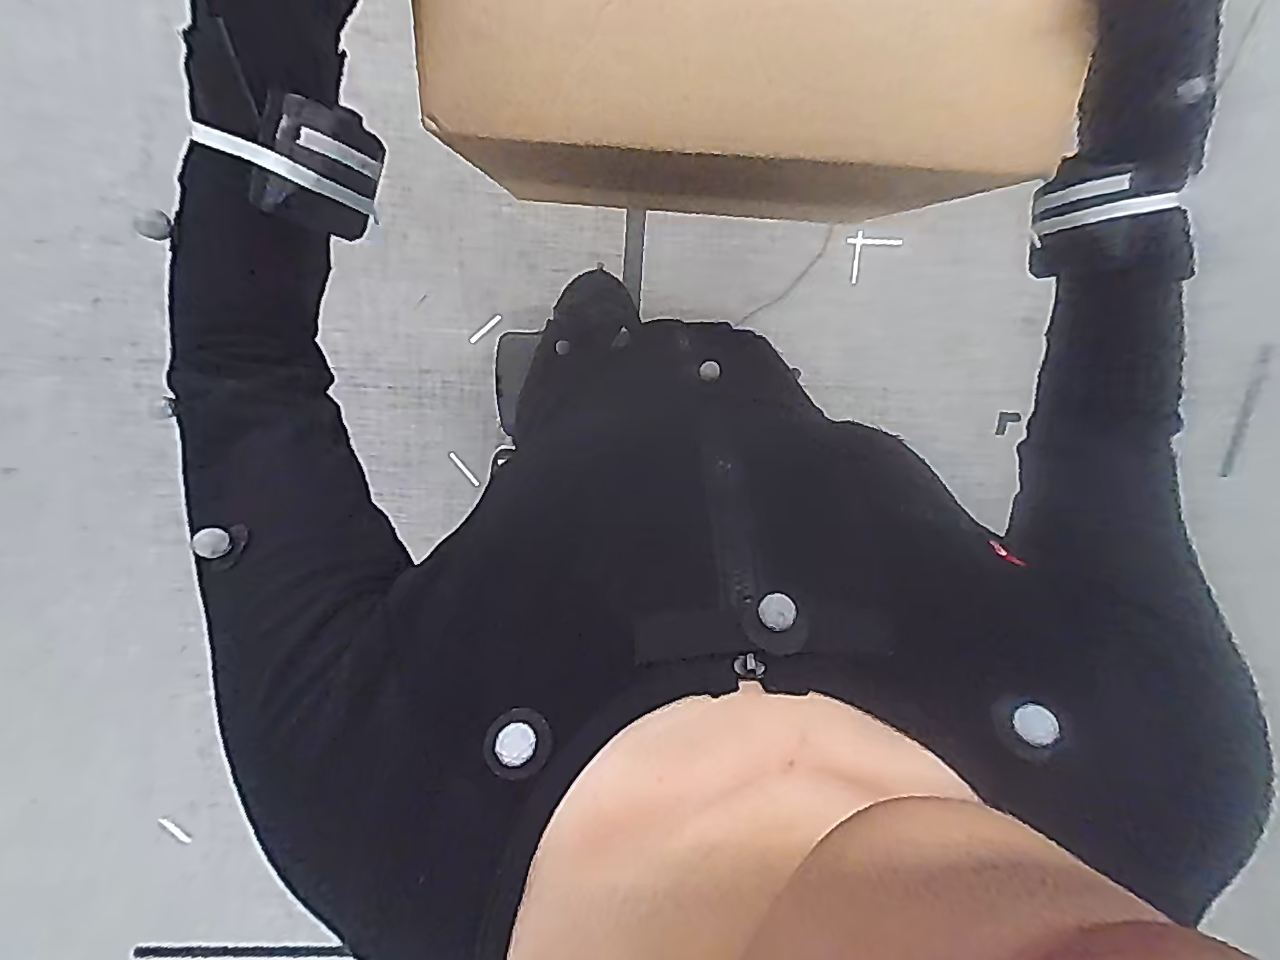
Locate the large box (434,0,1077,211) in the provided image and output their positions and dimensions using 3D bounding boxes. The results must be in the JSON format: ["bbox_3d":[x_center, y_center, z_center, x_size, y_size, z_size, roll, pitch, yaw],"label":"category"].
[{"bbox_3d":[0.068,-0.415,0.442,0.408,0.320,0.320,2,111,-4],"label":"large box"}]
